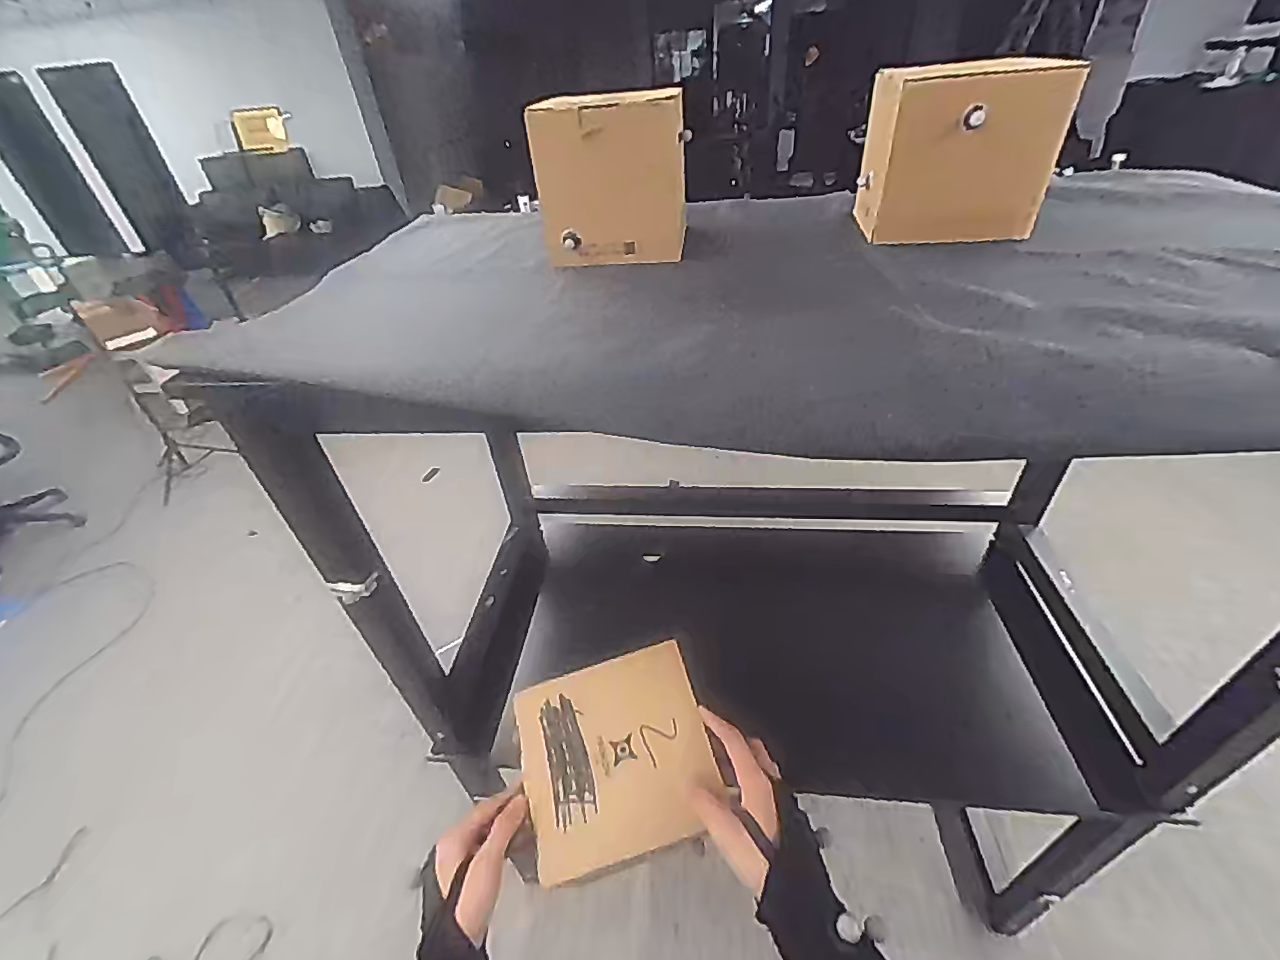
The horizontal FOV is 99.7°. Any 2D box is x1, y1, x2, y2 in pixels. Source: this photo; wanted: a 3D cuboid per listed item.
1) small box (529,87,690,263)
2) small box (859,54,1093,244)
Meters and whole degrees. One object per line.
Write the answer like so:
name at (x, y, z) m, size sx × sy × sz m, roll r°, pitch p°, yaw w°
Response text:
small box at (-0.024, -0.382, 0.685) m, size 0.168 × 0.176 × 0.179 m, roll 1°, pitch 38°, yaw 8°
small box at (0.379, -0.395, 0.651) m, size 0.179 × 0.176 × 0.168 m, roll 2°, pitch 39°, yaw 11°
